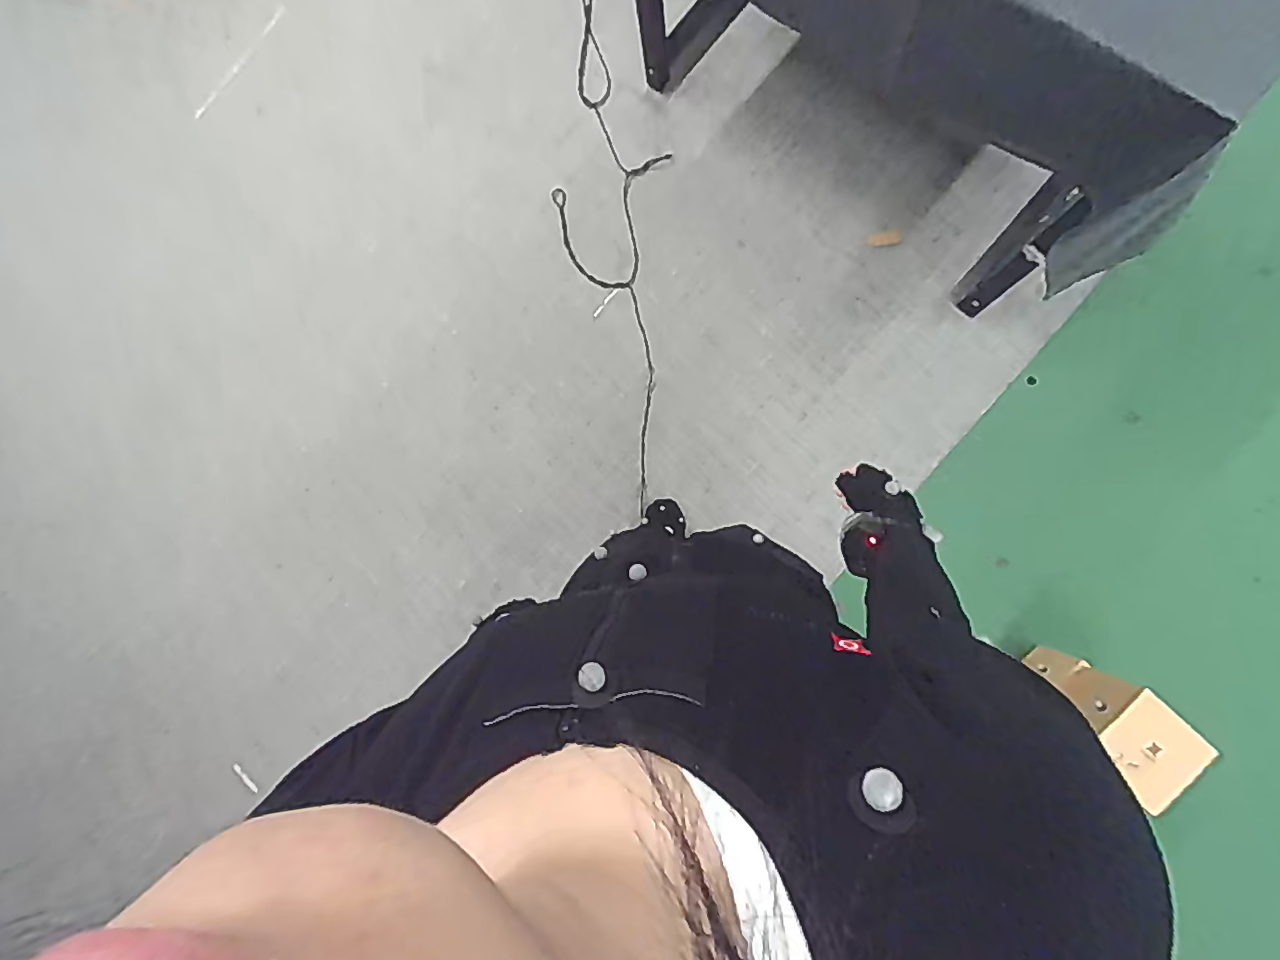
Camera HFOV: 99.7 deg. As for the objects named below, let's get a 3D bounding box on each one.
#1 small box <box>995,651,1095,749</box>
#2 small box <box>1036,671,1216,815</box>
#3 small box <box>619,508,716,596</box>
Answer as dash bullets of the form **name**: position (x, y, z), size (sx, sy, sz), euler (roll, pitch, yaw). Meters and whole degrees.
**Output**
- **small box**: position (0.986, 0.522, 1.264), size (0.168, 0.176, 0.179), euler (-44, 82, 1)
- **small box**: position (0.969, 0.519, 1.099), size (0.179, 0.176, 0.168), euler (-45, 82, 0)
- **small box**: position (0.066, 0.186, 1.422), size (0.179, 0.176, 0.168), euler (36, 101, 26)
